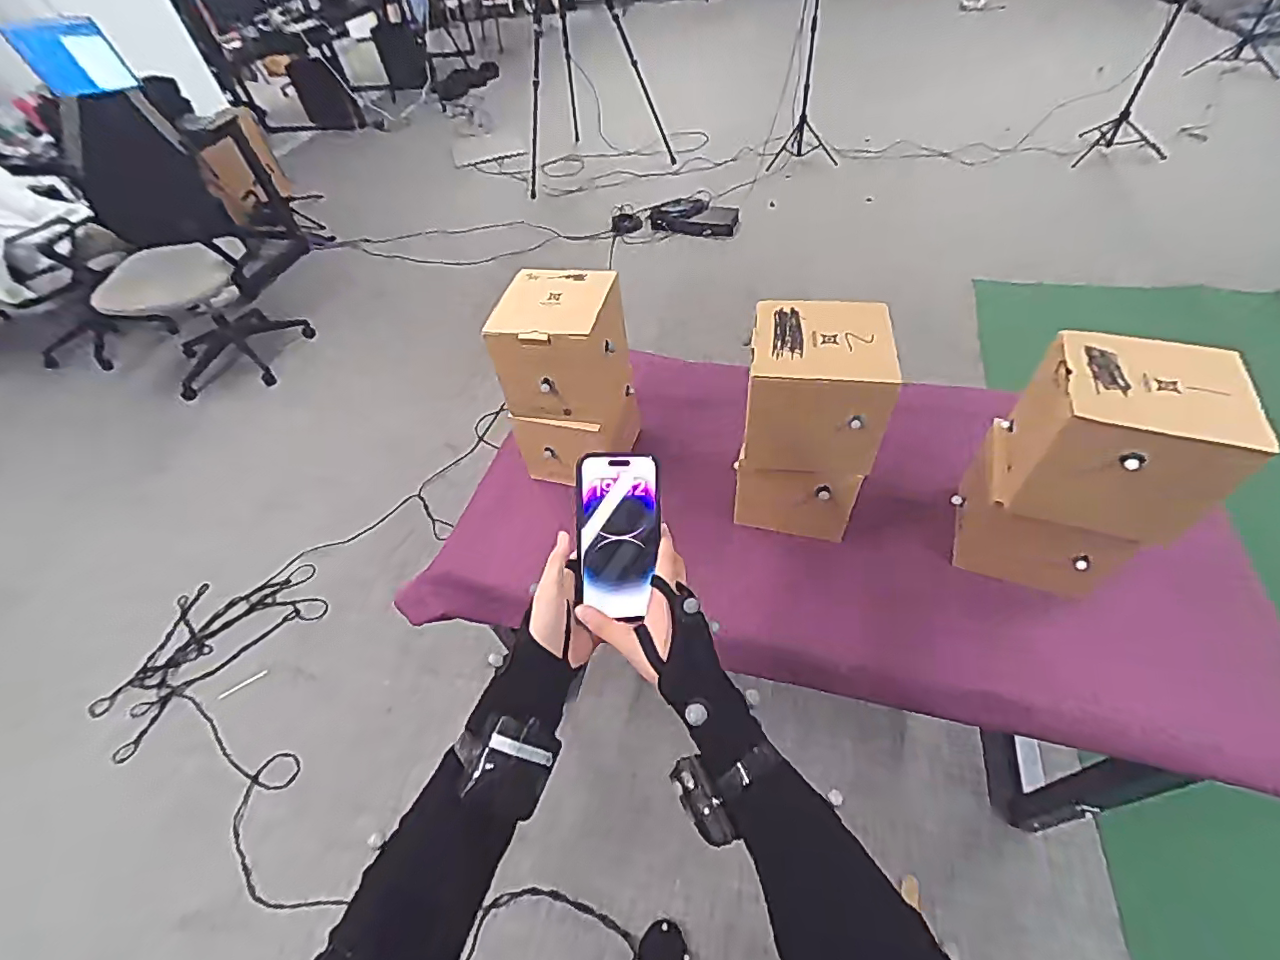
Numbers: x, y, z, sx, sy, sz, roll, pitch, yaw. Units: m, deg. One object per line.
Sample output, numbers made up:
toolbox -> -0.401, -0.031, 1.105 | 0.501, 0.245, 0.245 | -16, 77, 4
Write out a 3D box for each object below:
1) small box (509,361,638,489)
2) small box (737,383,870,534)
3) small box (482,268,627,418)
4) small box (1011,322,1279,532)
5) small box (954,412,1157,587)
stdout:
small box -> -0.108, -0.106, 0.986 | 0.168, 0.176, 0.179 | 10, 52, 15
small box -> 0.259, -0.031, 0.872 | 0.179, 0.176, 0.168 | 9, 52, 15
small box -> -0.123, -0.217, 0.866 | 0.168, 0.176, 0.179 | 6, 52, 12
small box -> 0.566, -0.060, 0.641 | 0.179, 0.176, 0.168 | 14, 53, 18
small box -> 0.579, 0.032, 0.776 | 0.179, 0.176, 0.168 | 14, 53, 19
